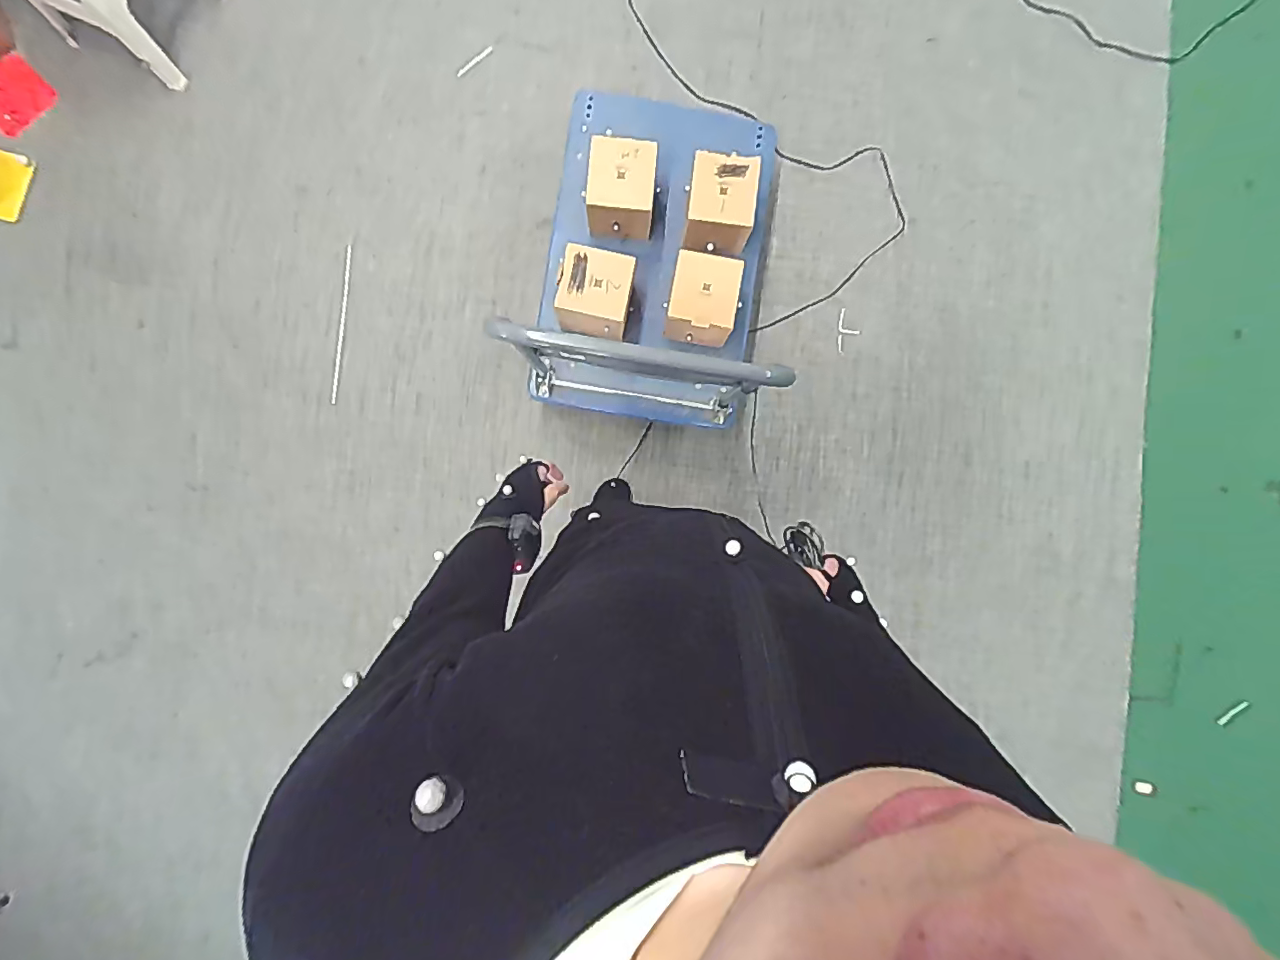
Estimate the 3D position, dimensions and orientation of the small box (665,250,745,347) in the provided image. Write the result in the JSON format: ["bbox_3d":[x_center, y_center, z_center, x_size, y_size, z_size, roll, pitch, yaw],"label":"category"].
[{"bbox_3d":[0.161,-0.462,1.401,0.168,0.176,0.179,10,89,-2],"label":"small box"}]

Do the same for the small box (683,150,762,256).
[{"bbox_3d":[0.207,-0.712,1.406,0.168,0.176,0.179,7,90,-1],"label":"small box"}]

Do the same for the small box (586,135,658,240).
[{"bbox_3d":[-0.046,-0.746,1.398,0.168,0.176,0.179,5,89,-3],"label":"small box"}]
